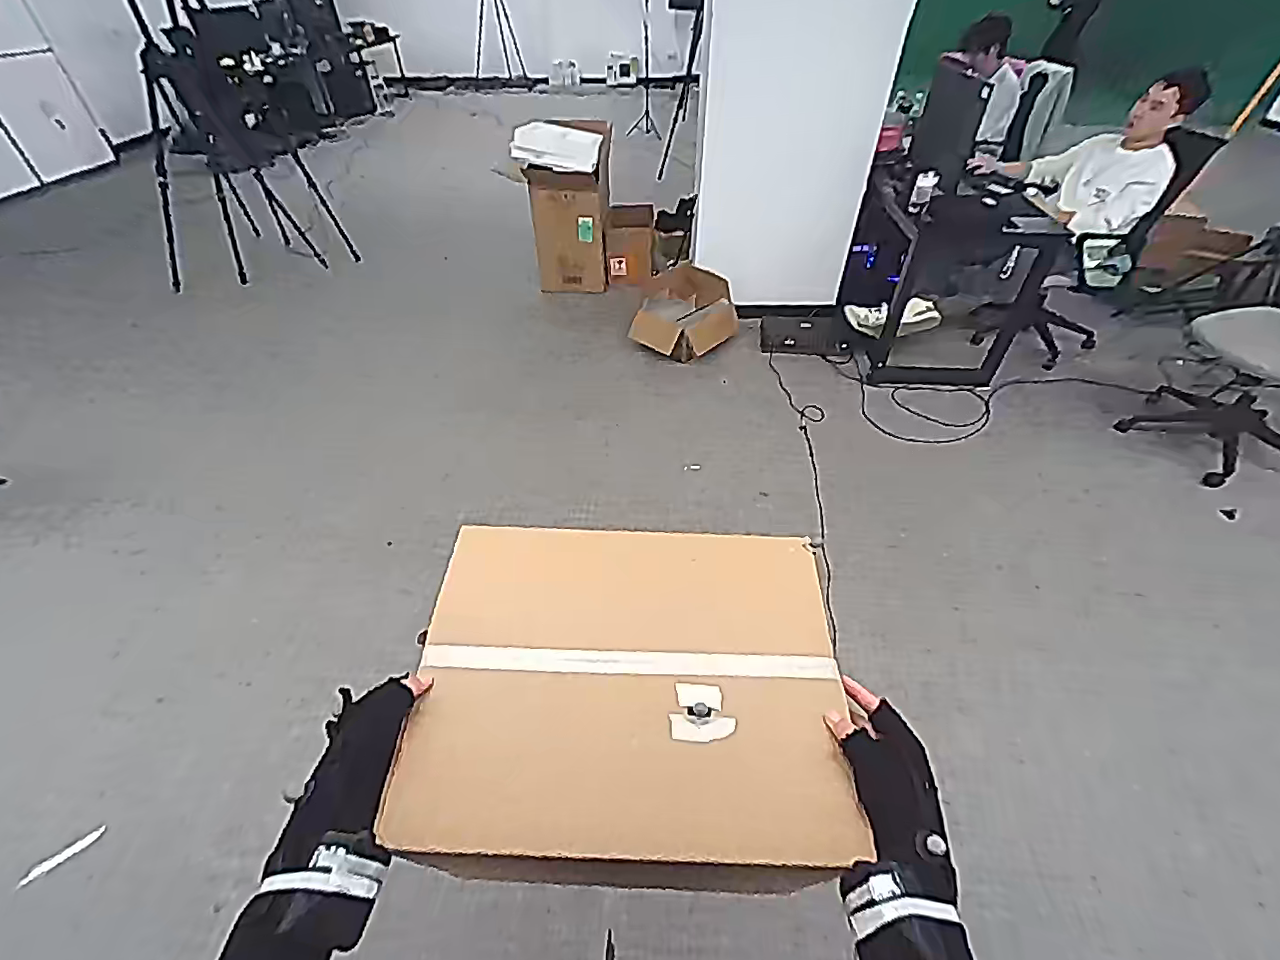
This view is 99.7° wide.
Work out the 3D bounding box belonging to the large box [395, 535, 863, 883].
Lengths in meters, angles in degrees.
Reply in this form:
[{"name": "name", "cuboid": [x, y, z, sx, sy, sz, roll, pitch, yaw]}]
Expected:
[{"name": "large box", "cuboid": [-0.011, 0.284, 0.659, 0.408, 0.320, 0.320, 3, 50, 0]}]
